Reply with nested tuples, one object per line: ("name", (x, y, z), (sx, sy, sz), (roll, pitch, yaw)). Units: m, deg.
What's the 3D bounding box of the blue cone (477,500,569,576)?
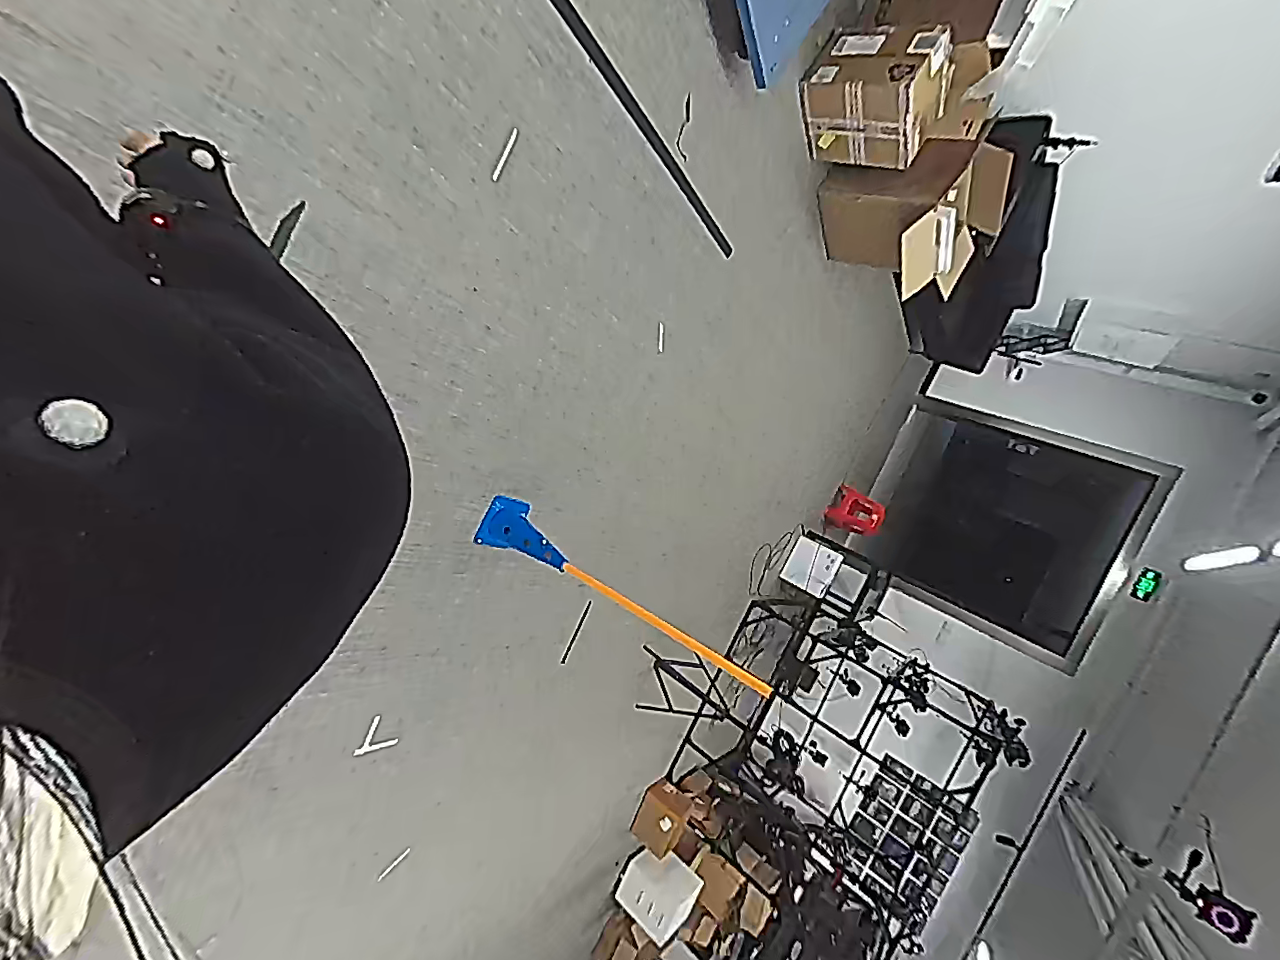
("blue cone", (-0.395, 0.234, 1.972), (0.193, 0.380, 0.192), (28, 90, -57))
